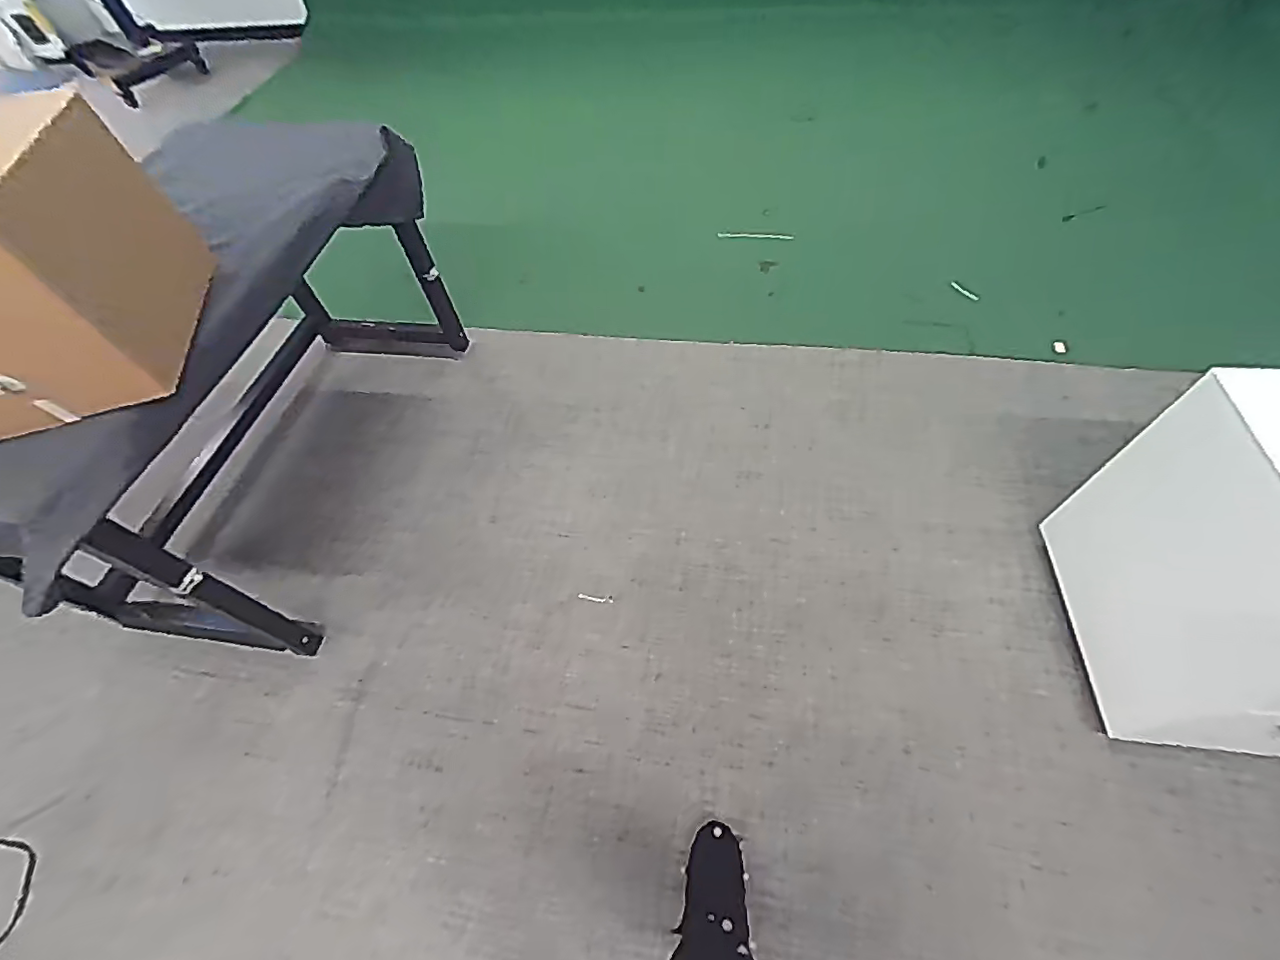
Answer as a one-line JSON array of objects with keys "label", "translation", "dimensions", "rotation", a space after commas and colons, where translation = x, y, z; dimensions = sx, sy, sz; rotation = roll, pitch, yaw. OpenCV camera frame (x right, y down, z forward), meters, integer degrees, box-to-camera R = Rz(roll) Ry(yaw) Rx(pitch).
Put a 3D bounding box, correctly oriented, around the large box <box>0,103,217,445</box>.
[{"label": "large box", "translation": [-0.964, -0.326, 0.863], "dimensions": [0.320, 0.320, 0.408], "rotation": [-16, 54, -6]}]
